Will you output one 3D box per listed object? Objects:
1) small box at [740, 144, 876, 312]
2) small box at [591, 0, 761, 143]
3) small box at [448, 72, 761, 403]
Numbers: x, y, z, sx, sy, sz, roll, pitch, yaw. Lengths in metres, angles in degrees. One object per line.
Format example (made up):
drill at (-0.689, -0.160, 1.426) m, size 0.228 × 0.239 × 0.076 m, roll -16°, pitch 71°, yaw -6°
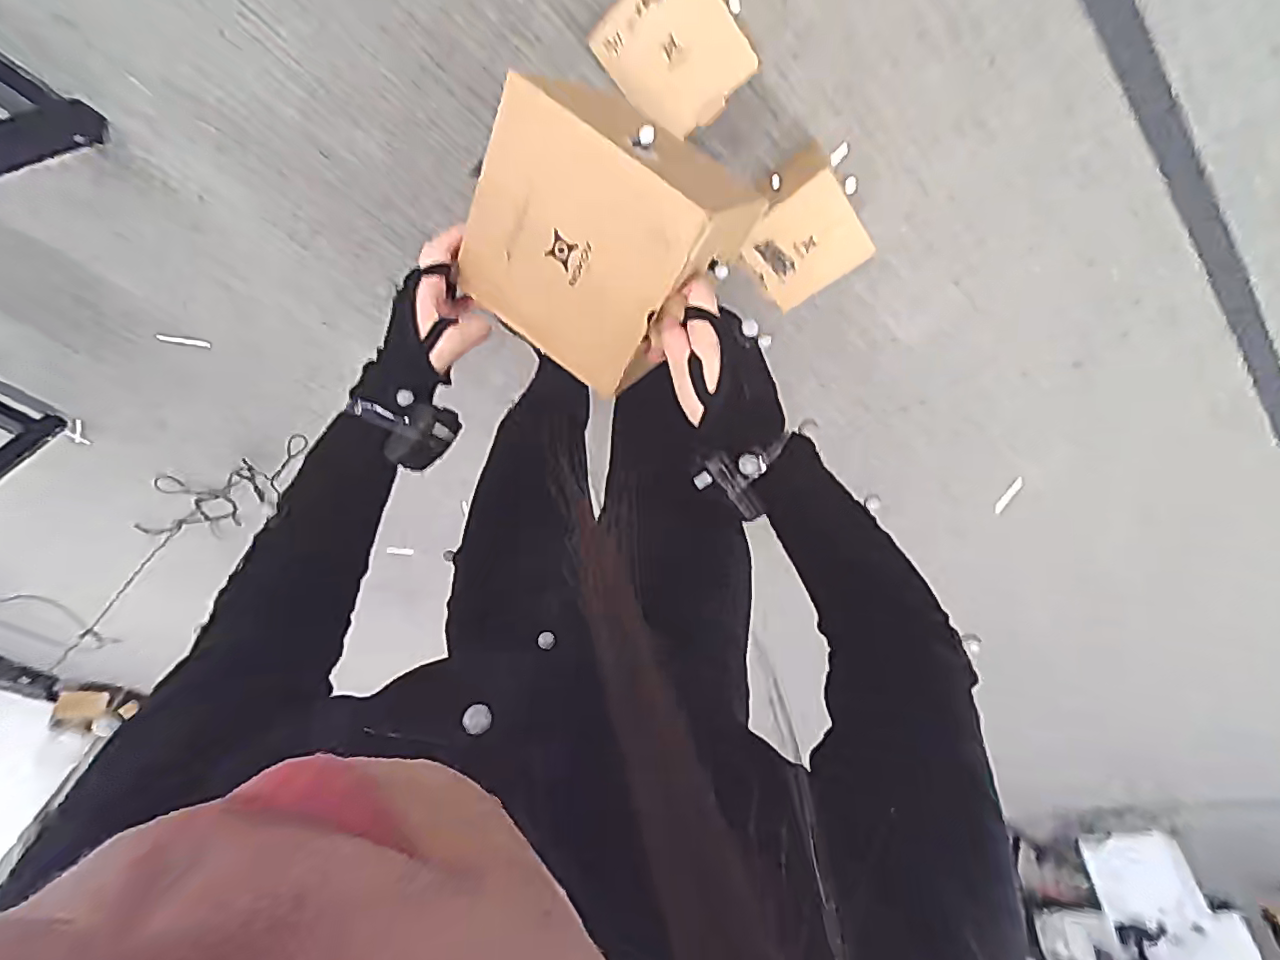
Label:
small box at (0.280, -0.437, 0.940) m, size 0.179 × 0.176 × 0.168 m, roll -29°, pitch 125°, yaw 31°
small box at (0.057, -0.626, 0.780) m, size 0.168 × 0.176 × 0.179 m, roll -28°, pitch 126°, yaw 32°
small box at (-0.023, -0.202, 0.459) m, size 0.179 × 0.176 × 0.168 m, roll 37°, pitch 127°, yaw 3°
